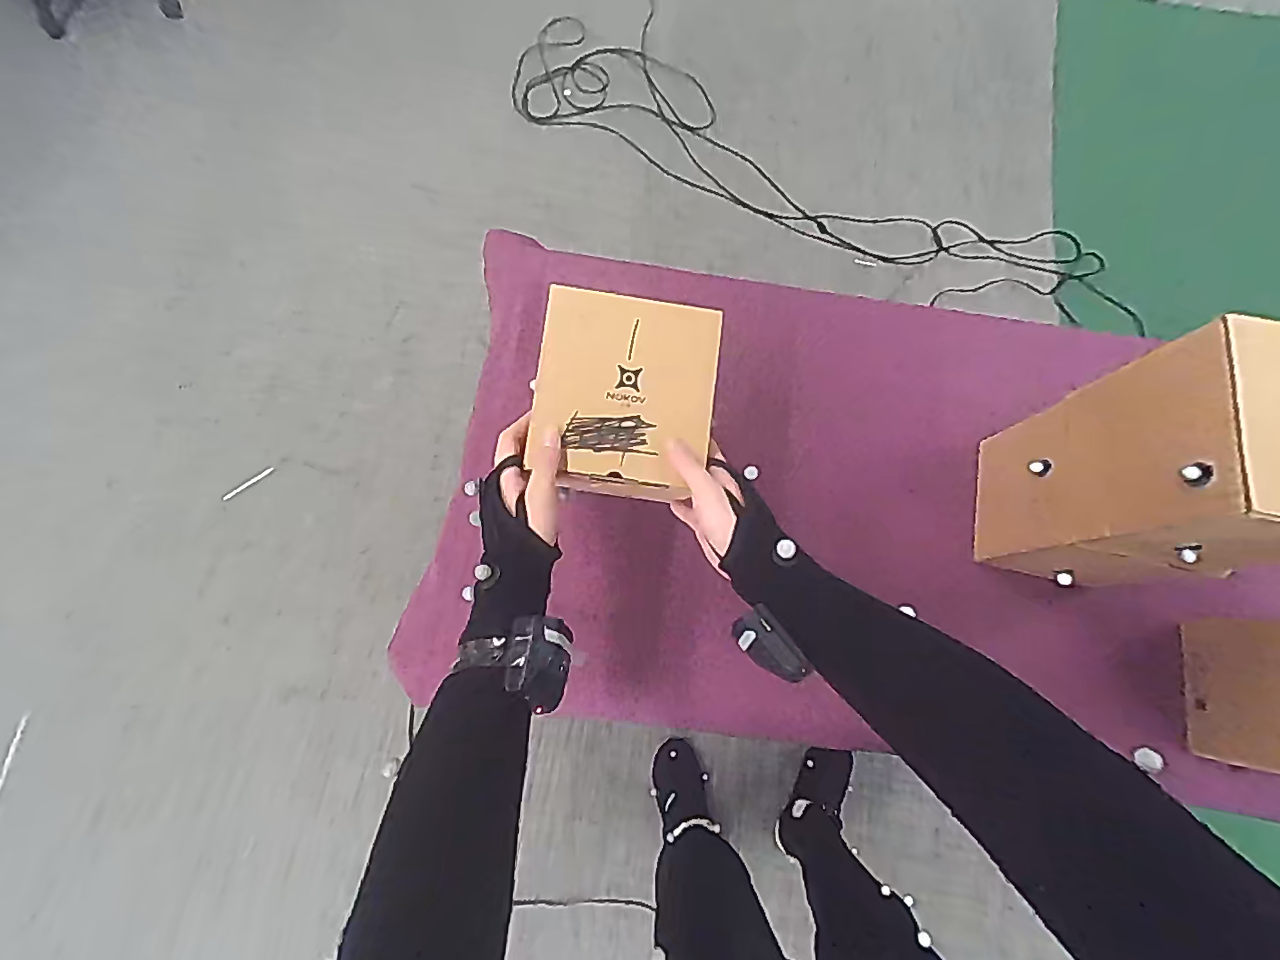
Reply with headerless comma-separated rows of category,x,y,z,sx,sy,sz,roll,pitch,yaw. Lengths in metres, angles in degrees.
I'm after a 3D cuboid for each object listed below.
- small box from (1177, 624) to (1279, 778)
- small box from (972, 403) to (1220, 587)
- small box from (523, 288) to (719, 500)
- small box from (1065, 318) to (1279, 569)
small box,0.778,0.261,0.614,0.179,0.176,0.168,13,74,1
small box,0.542,0.026,0.665,0.168,0.176,0.179,13,75,1
small box,-0.021,-0.077,0.584,0.168,0.176,0.179,8,82,-4
small box,0.543,-0.021,0.510,0.168,0.176,0.179,10,76,0
